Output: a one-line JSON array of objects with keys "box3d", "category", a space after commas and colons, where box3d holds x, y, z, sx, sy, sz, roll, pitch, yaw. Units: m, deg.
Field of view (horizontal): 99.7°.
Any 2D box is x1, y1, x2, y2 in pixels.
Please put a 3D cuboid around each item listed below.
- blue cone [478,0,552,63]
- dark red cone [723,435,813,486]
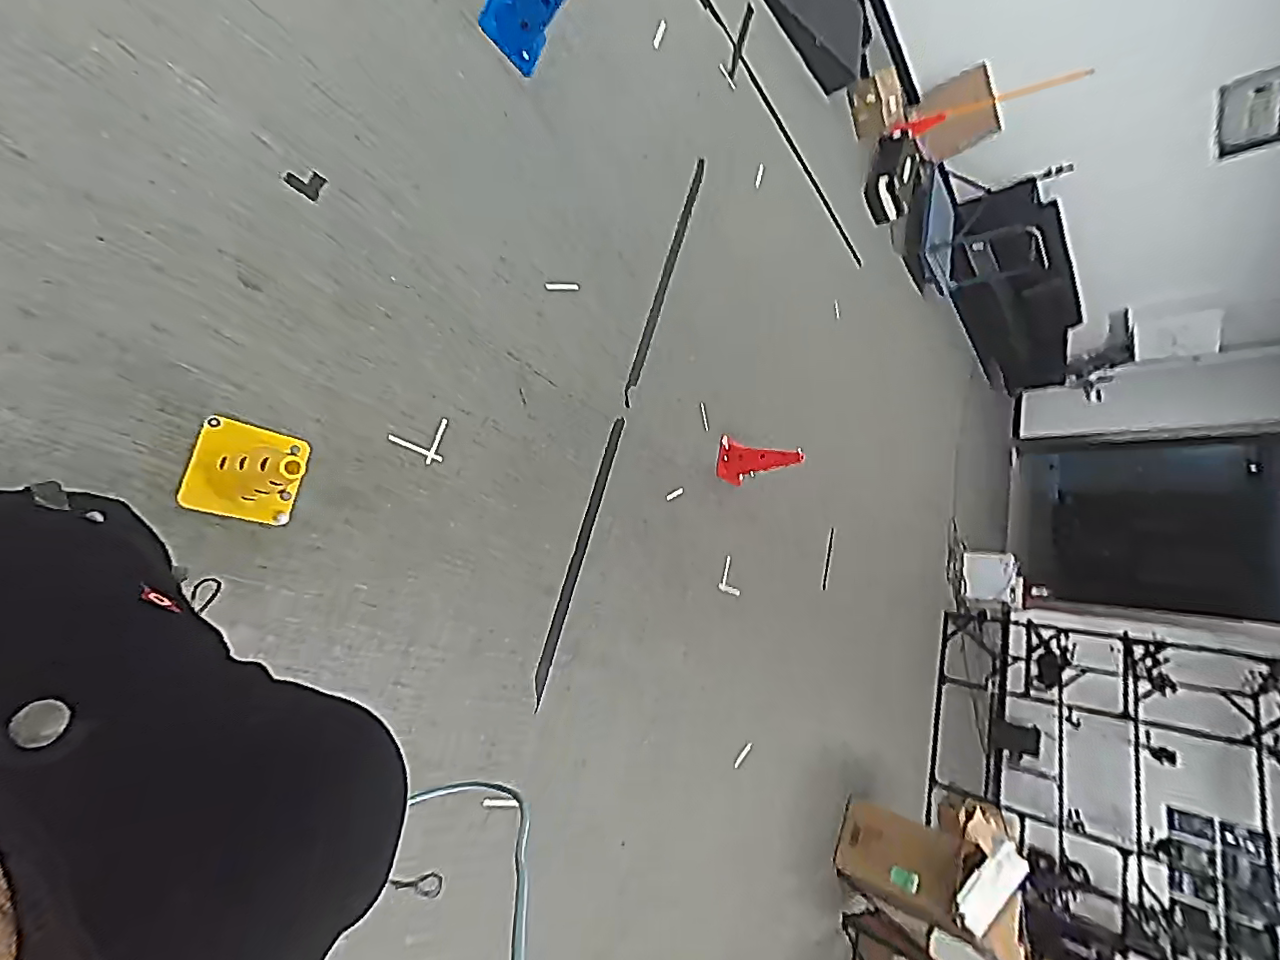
[{"box3d": [-0.276, -1.408, 1.537, 0.192, 0.380, 0.193, 32, 67, -40], "category": "blue cone"}, {"box3d": [0.562, -0.089, 2.348, 0.201, 0.394, 0.202, 21, 74, -43], "category": "dark red cone"}]
